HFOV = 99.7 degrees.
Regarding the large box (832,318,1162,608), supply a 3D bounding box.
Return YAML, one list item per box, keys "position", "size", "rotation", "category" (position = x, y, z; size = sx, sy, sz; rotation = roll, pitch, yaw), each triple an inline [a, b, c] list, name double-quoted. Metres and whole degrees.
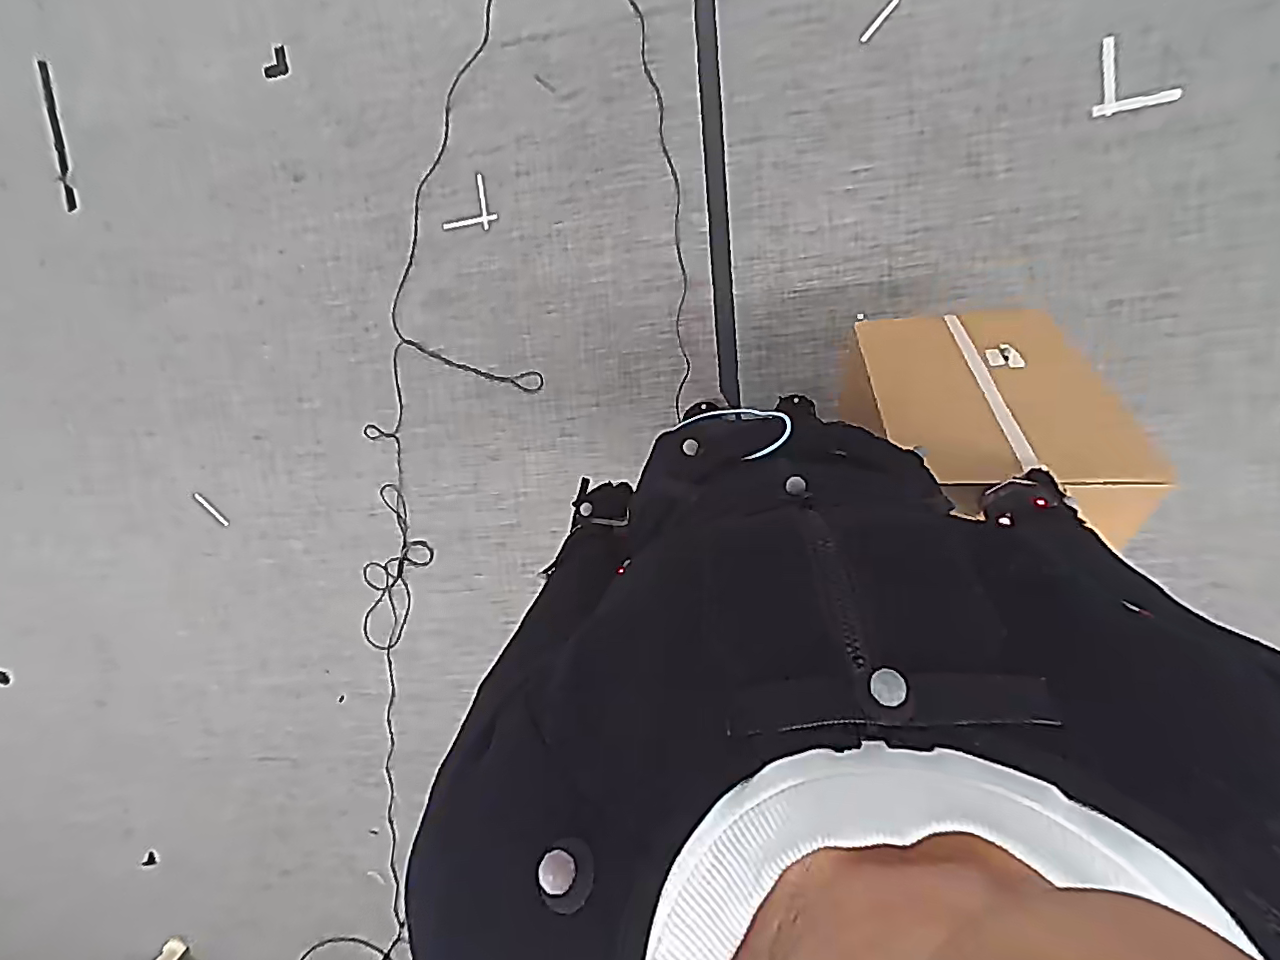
- position: [0.533, -0.032, 0.928]
  size: [0.320, 0.408, 0.320]
  rotation: [0, 136, 8]
  category: "large box"
